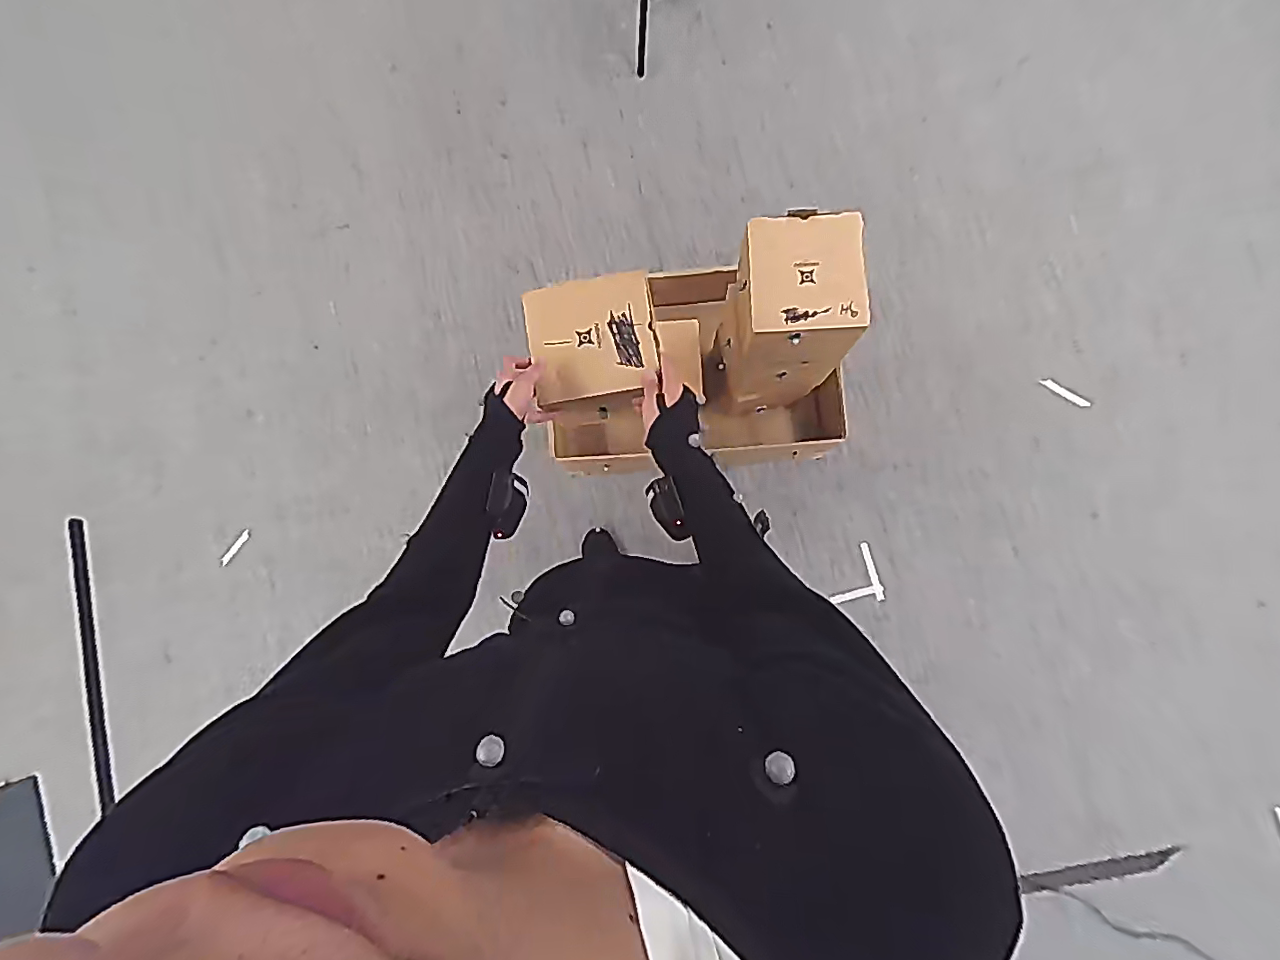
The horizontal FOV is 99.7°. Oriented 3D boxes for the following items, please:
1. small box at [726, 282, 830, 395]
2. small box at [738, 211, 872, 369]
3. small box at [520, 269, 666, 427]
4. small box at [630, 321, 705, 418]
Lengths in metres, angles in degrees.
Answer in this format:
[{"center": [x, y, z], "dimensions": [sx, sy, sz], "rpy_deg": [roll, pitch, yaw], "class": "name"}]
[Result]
[{"center": [0.255, -0.264, 1.002], "dimensions": [0.179, 0.176, 0.168], "rpy_deg": [-7, 84, 4], "class": "small box"}, {"center": [0.244, -0.285, 0.840], "dimensions": [0.168, 0.176, 0.179], "rpy_deg": [-1, 83, 5], "class": "small box"}, {"center": [-0.058, -0.184, 0.800], "dimensions": [0.179, 0.176, 0.168], "rpy_deg": [-10, 84, 6], "class": "small box"}, {"center": [0.044, -0.235, 1.180], "dimensions": [0.179, 0.176, 0.168], "rpy_deg": [-3, 84, 3], "class": "small box"}]
